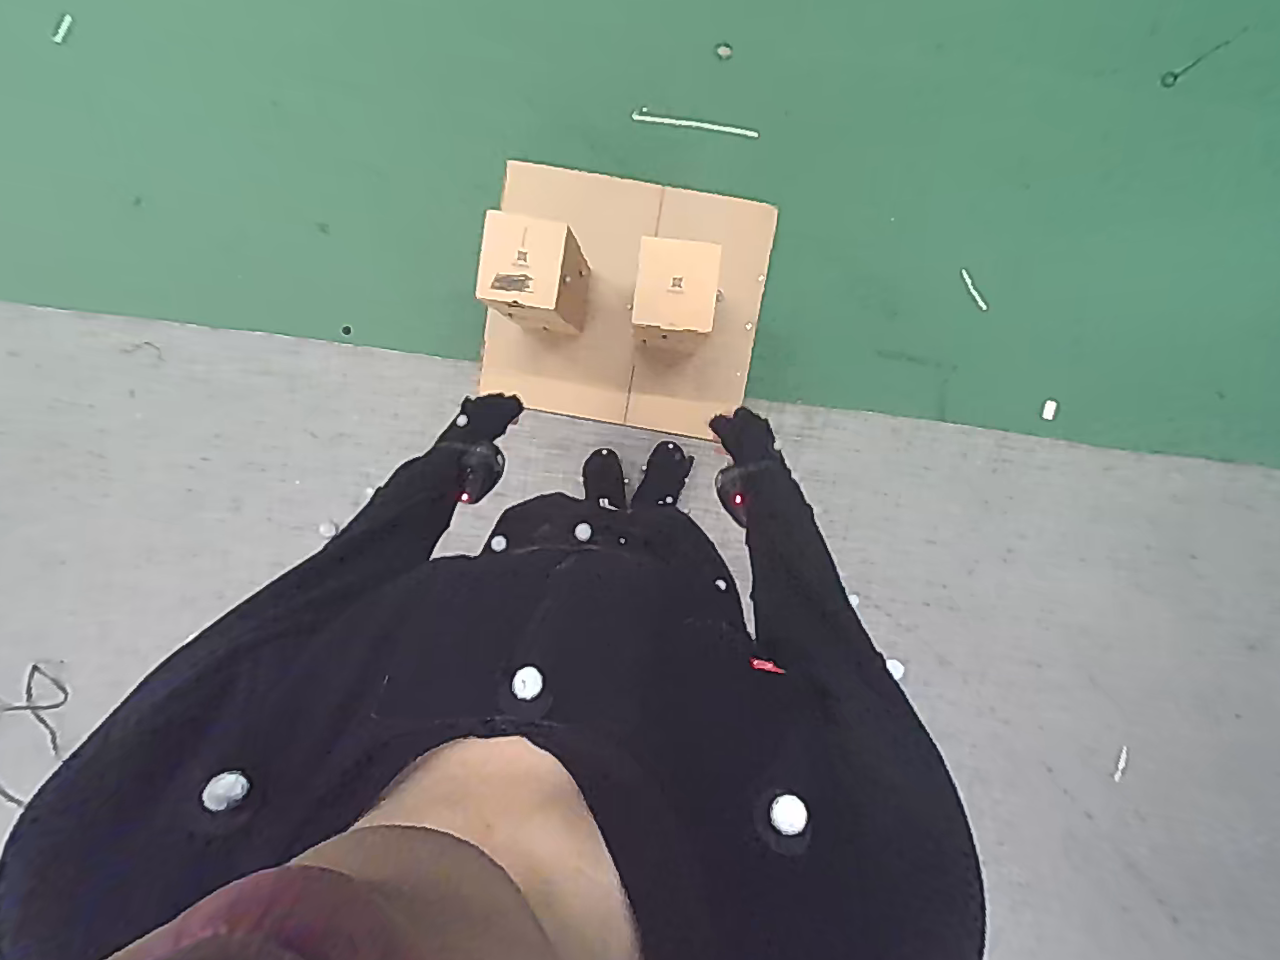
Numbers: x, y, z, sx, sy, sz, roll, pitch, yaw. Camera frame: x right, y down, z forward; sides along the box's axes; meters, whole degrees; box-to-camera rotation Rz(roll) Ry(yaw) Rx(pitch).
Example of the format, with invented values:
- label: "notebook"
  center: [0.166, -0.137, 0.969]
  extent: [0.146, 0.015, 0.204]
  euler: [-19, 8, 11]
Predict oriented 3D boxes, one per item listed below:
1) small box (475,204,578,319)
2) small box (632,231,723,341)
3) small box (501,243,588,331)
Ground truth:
- label: "small box"
  center: [-0.233, -0.452, 1.147]
  extent: [0.168, 0.176, 0.179]
  euler: [10, 97, 1]
- label: "small box"
  center: [0.074, -0.403, 1.148]
  extent: [0.168, 0.176, 0.179]
  euler: [7, 98, 1]
- label: "small box"
  center: [-0.225, -0.472, 1.310]
  extent: [0.168, 0.176, 0.179]
  euler: [9, 98, 2]
